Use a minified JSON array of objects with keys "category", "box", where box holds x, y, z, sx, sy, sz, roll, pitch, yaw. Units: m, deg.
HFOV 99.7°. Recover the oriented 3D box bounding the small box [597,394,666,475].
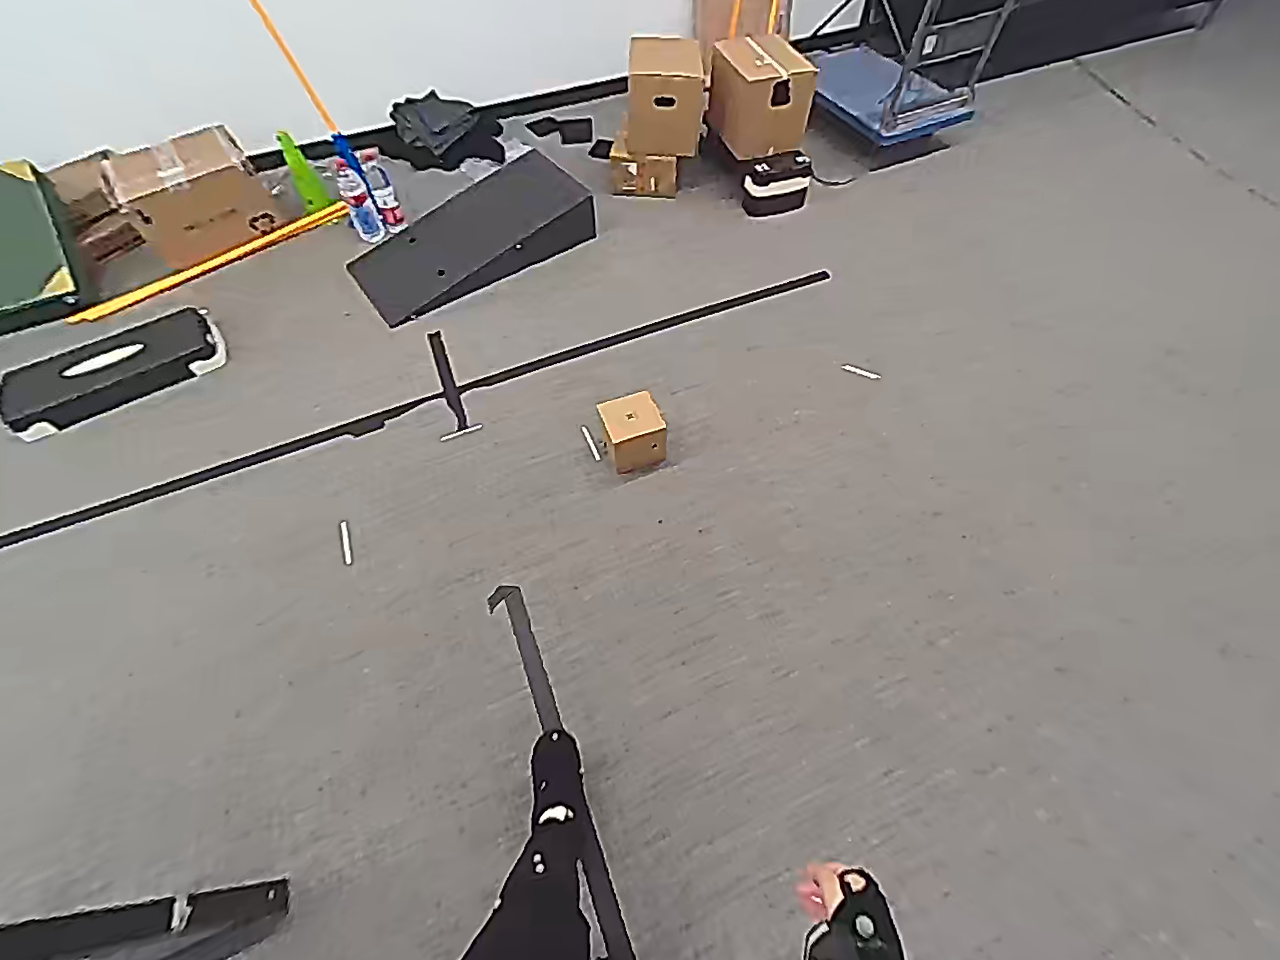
[{"category":"small box","box":[-0.028,-0.142,1.718,0.179,0.176,0.168,-18,58,-10]}]
